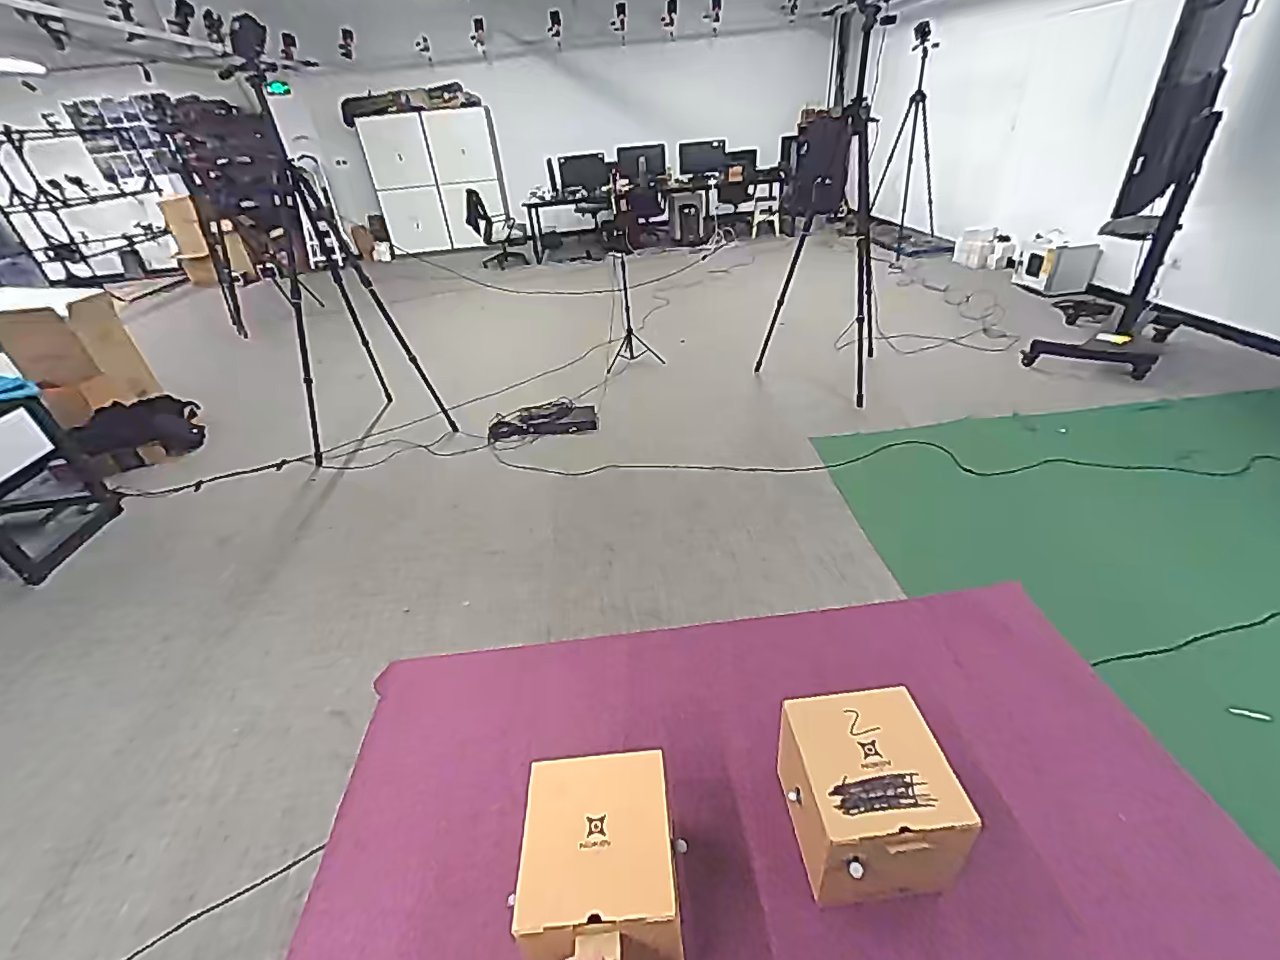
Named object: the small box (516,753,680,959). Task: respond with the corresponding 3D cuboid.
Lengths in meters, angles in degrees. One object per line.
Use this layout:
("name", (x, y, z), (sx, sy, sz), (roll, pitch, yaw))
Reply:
("small box", (-0.043, 0.469, 0.660), (0.168, 0.176, 0.179), (-6, 33, 0))
